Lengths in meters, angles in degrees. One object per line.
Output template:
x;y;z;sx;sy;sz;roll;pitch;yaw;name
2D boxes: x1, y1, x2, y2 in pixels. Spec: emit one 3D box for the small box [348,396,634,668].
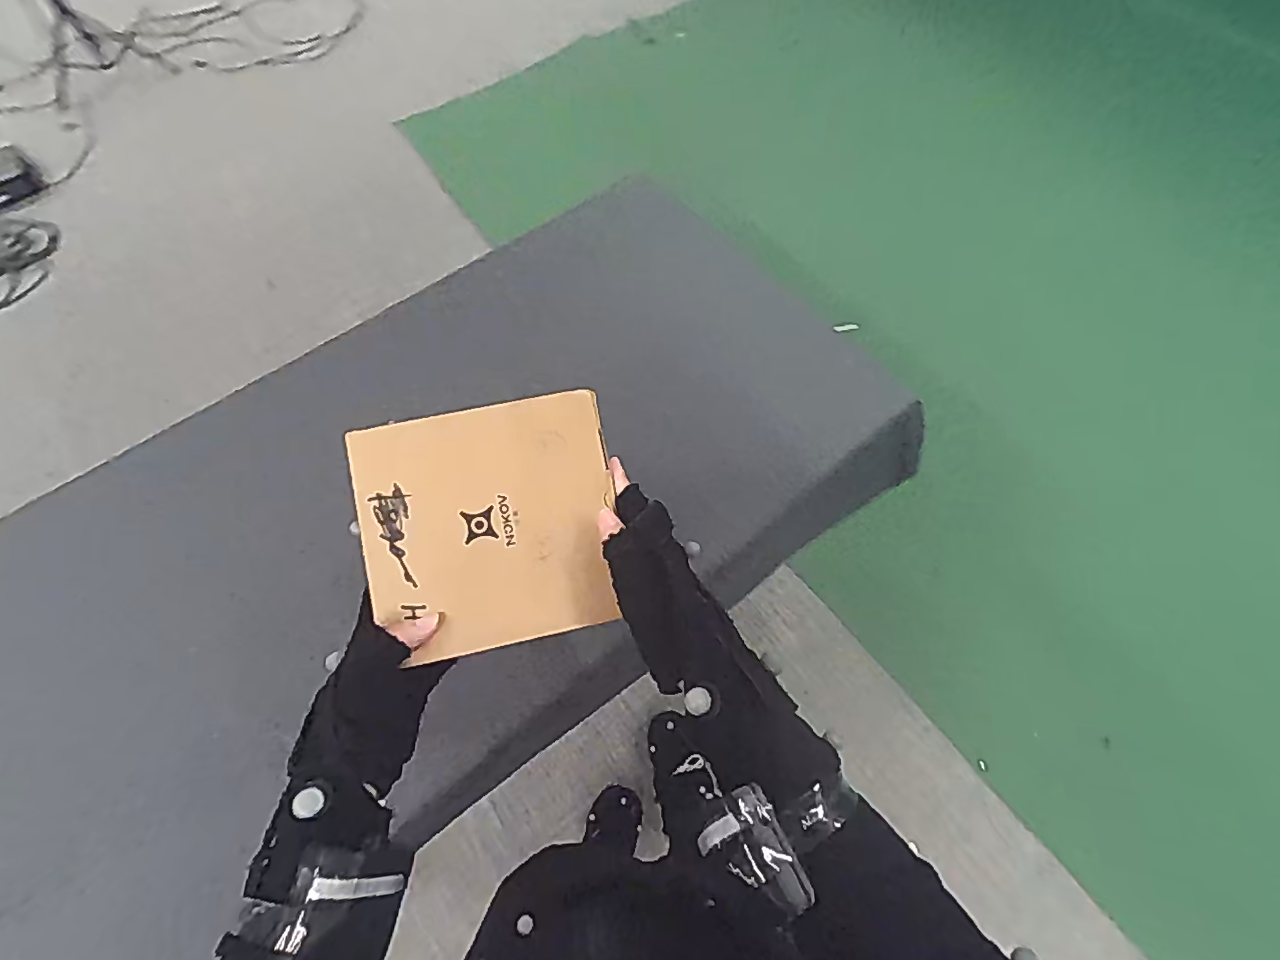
-0.110;0.040;0.452;0.179;0.176;0.168;-10;84;-5;small box
